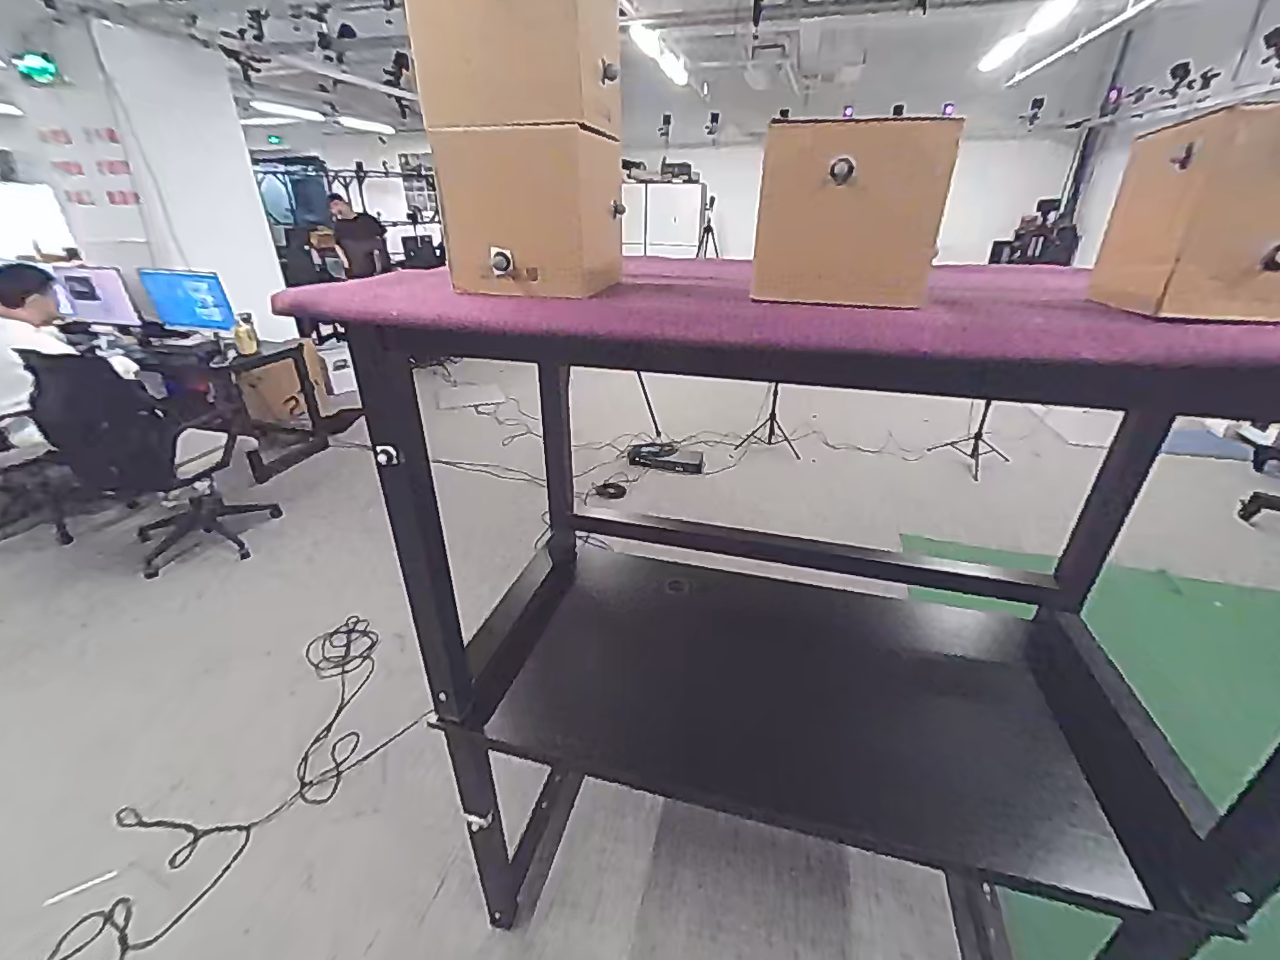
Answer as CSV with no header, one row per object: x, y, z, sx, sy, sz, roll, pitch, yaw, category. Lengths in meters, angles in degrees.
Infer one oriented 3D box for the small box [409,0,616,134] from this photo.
-0.129,-0.470,0.577,0.179,0.176,0.168,4,28,10,small box

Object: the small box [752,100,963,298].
0.223,-0.297,0.596,0.179,0.176,0.168,8,27,14,small box

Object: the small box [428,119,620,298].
-0.123,-0.321,0.649,0.168,0.176,0.179,5,28,11,small box

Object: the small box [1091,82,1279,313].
0.568,-0.252,0.502,0.168,0.176,0.179,7,26,17,small box
